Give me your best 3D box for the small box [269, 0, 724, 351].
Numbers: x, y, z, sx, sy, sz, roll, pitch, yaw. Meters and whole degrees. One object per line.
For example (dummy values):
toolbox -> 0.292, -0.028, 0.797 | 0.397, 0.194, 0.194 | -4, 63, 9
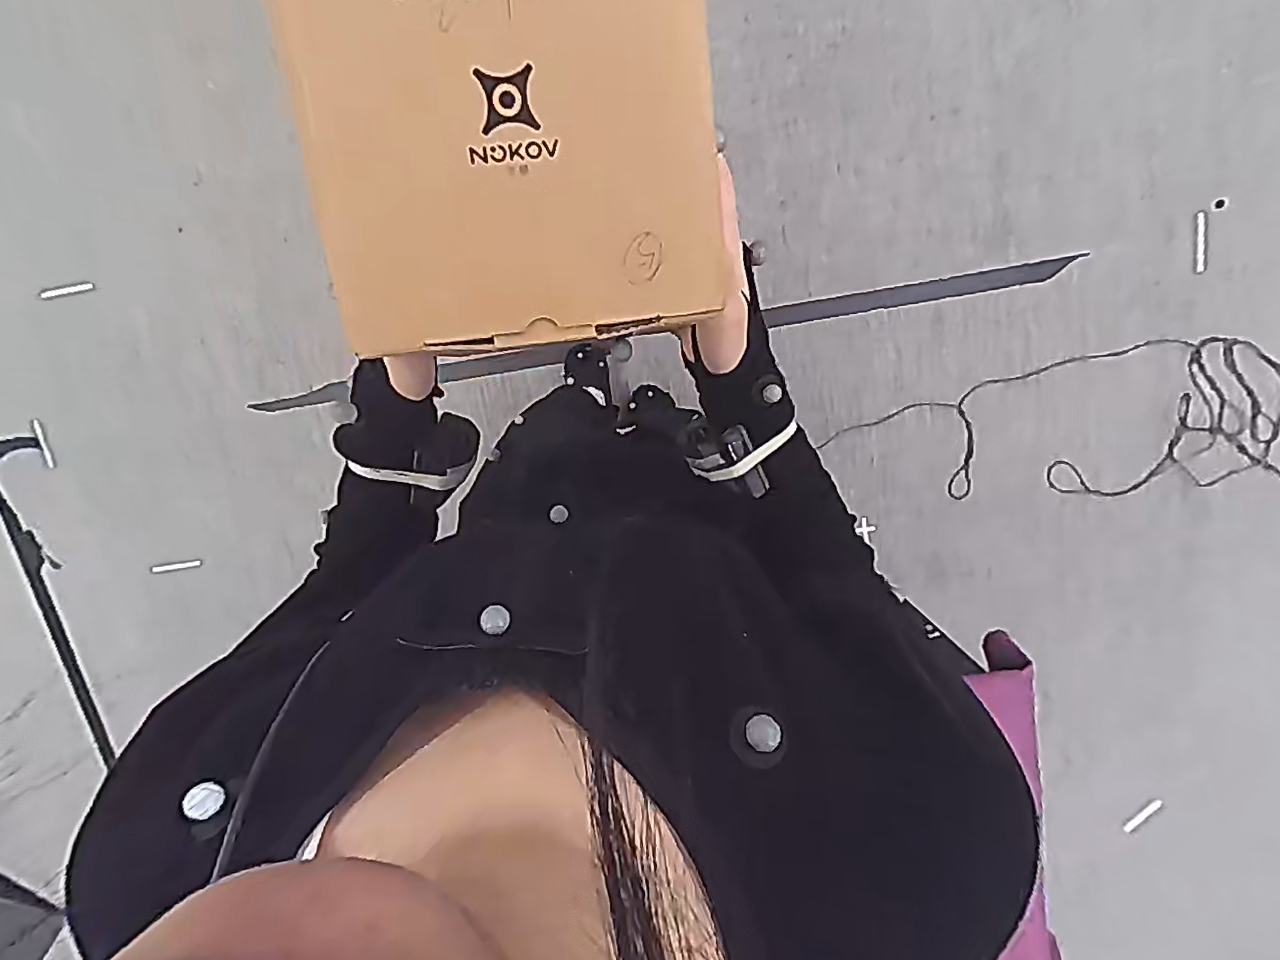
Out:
small box -> -0.058, -0.167, 0.291 | 0.168, 0.176, 0.179 | -8, 103, -3
